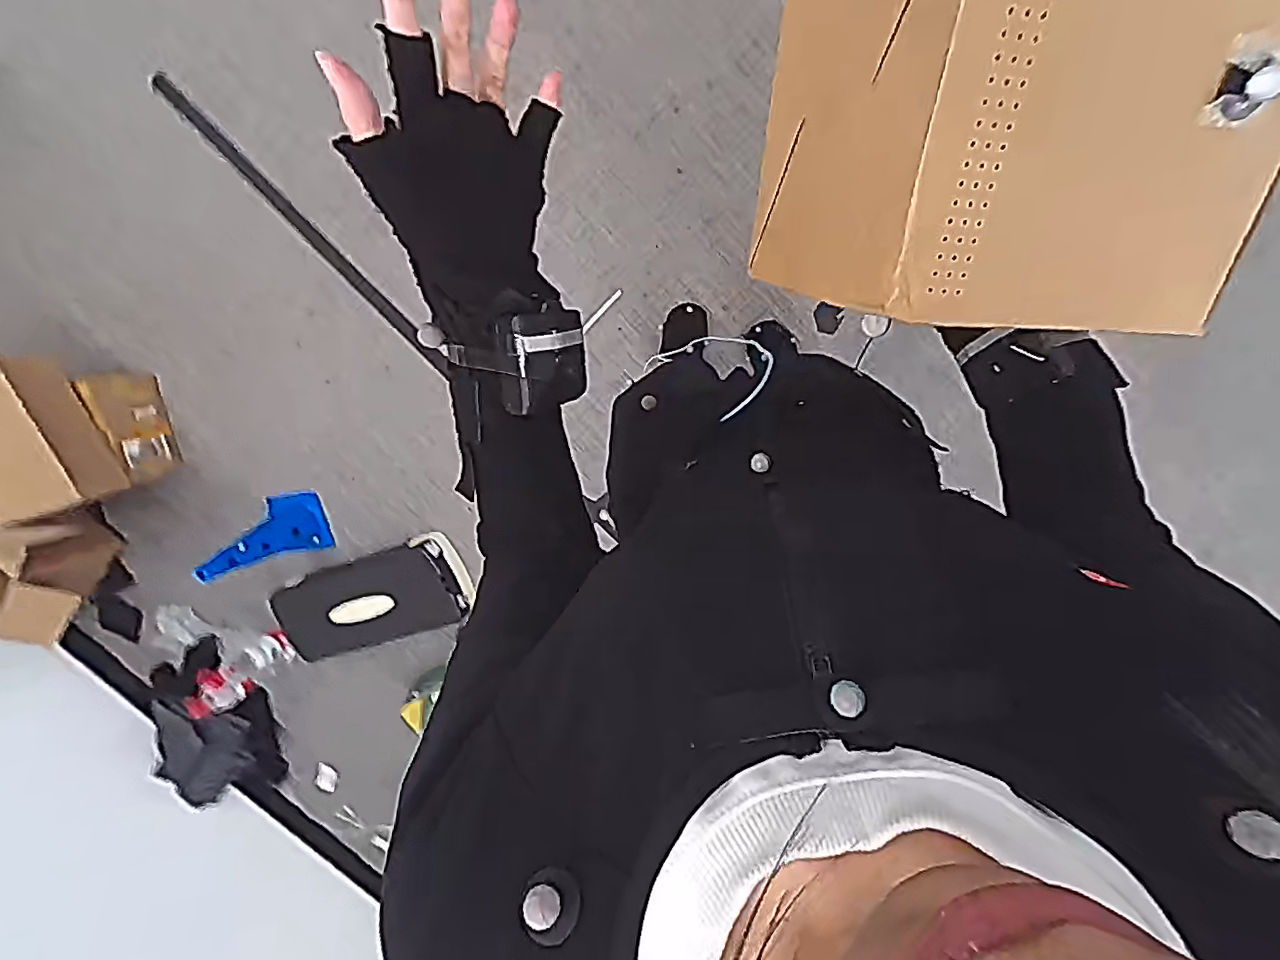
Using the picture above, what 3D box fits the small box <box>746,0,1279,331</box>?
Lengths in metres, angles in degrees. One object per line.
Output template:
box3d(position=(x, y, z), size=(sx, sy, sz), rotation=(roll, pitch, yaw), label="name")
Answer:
box3d(position=(0.169, -0.182, 0.281), size=(0.176, 0.168, 0.179), rotation=(1, 116, -9), label="small box")
